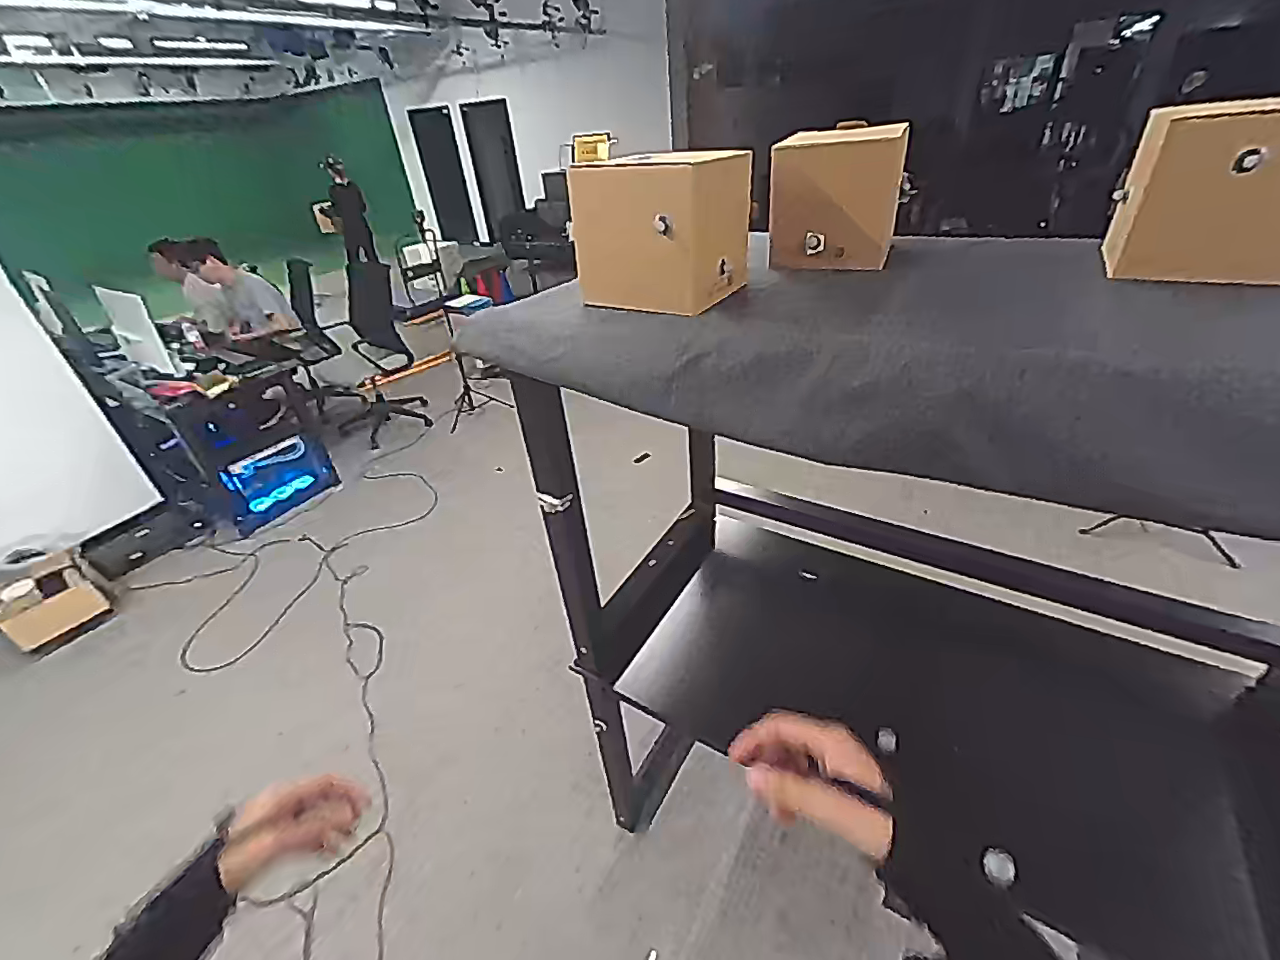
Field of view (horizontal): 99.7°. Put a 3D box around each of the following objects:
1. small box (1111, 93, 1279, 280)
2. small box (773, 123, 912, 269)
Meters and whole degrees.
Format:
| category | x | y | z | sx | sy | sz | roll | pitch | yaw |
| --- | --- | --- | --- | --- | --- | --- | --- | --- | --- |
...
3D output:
| category | x | y | z | sx | sy | sz | roll | pitch | yaw |
| --- | --- | --- | --- | --- | --- | --- | --- | --- | --- |
| small box | 0.678 | -0.337 | 0.622 | 0.179 | 0.176 | 0.168 | 16 | 41 | 29 |
| small box | 0.301 | -0.428 | 0.816 | 0.168 | 0.176 | 0.179 | 10 | 38 | 24 |
